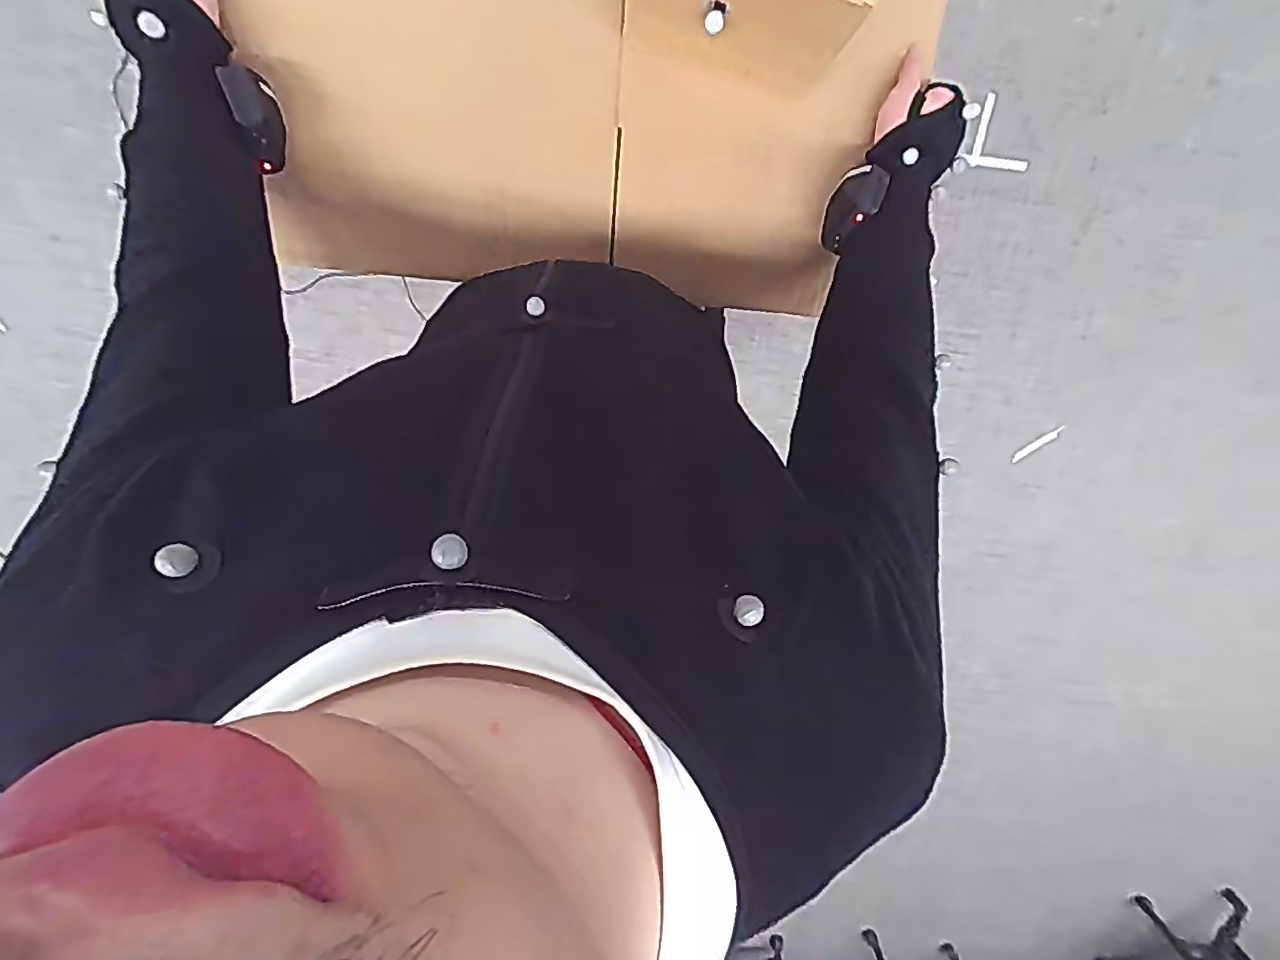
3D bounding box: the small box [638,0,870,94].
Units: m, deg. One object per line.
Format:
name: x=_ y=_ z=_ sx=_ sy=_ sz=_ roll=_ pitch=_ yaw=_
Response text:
small box: x=0.100 y=-0.446 z=0.426 sx=0.179 sy=0.176 sz=0.168 roll=15 pitch=105 yaw=-5
